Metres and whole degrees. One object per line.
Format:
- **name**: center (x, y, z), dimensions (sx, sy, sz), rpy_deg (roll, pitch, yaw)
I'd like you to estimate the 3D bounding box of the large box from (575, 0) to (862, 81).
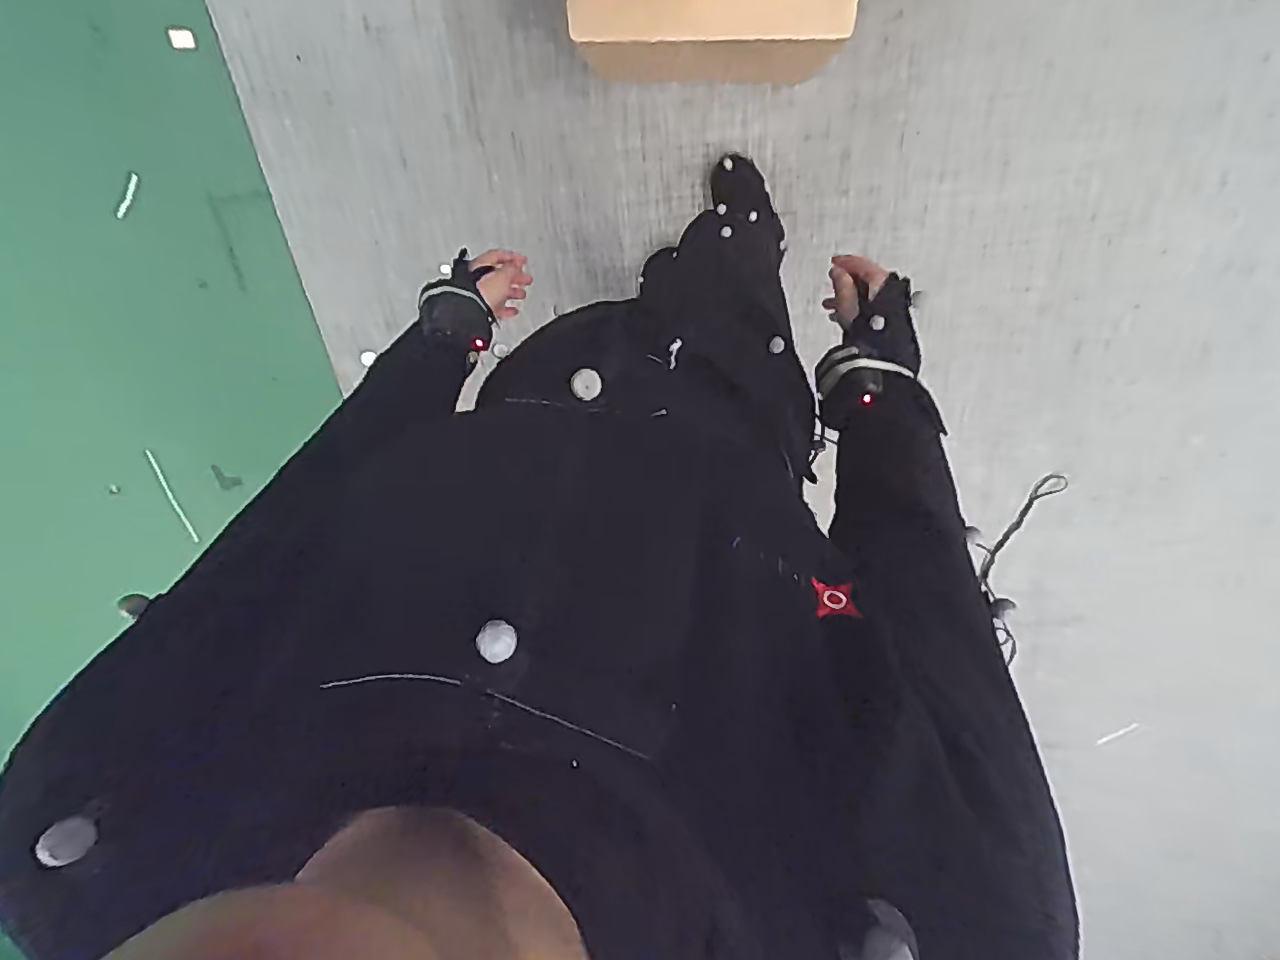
- **large box**: center (0.112, -0.831, 0.828), dimensions (0.408, 0.320, 0.320), rpy_deg (2, 119, 3)
